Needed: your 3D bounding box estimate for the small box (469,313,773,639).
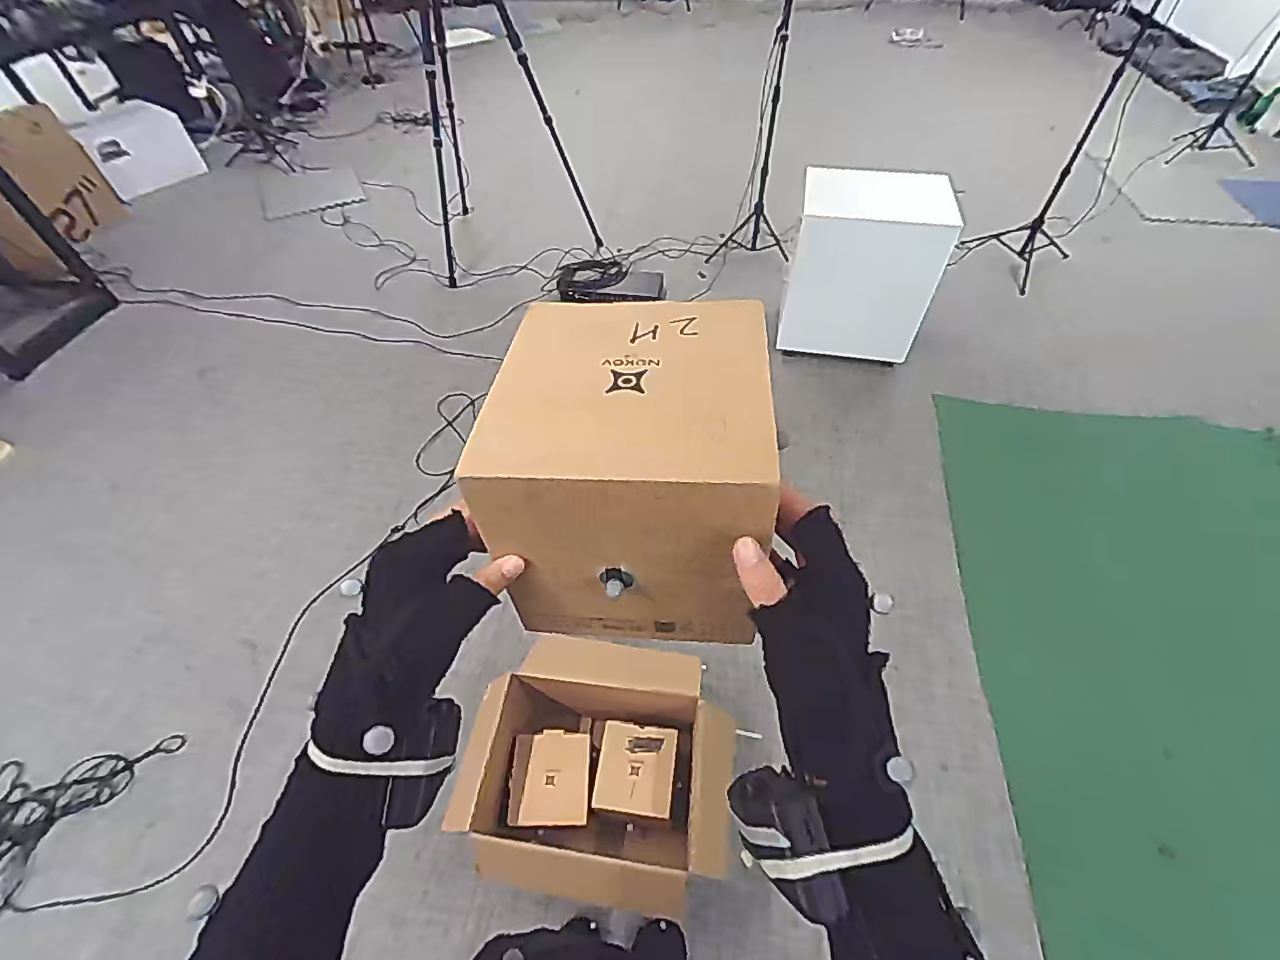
[{"bbox_3d":[0.001,-0.001,0.394,0.168,0.176,0.179,2,47,6],"label":"small box"}]
